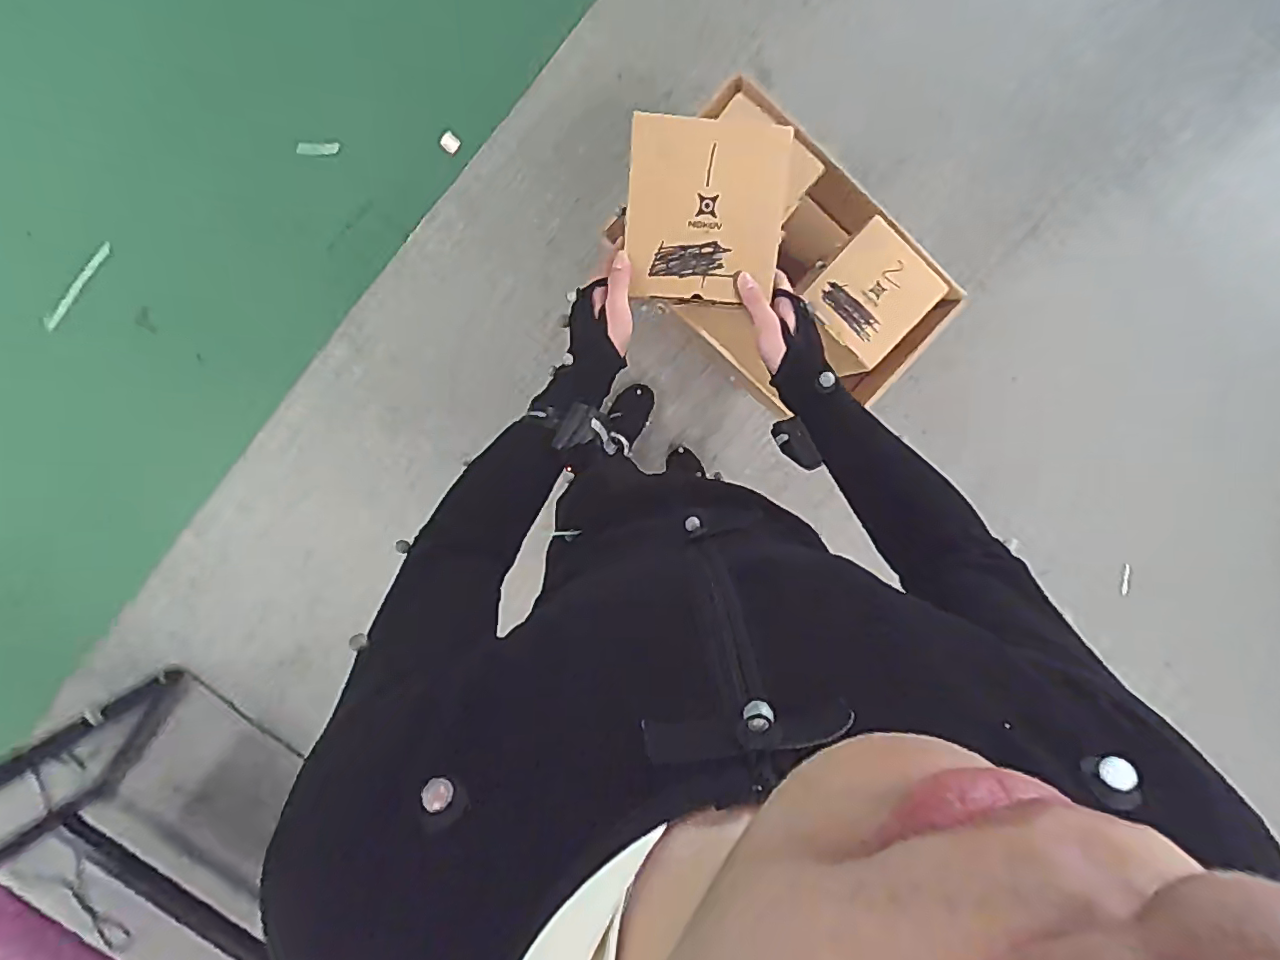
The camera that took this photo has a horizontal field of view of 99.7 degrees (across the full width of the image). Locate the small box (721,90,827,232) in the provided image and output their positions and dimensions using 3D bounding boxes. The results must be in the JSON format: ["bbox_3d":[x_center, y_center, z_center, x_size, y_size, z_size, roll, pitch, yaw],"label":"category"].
[{"bbox_3d":[0.168,-0.479,0.899,0.179,0.176,0.168,39,96,-5],"label":"small box"}]

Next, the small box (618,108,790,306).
[{"bbox_3d":[0.061,-0.301,0.635,0.168,0.176,0.179,3,106,-4],"label":"small box"}]
